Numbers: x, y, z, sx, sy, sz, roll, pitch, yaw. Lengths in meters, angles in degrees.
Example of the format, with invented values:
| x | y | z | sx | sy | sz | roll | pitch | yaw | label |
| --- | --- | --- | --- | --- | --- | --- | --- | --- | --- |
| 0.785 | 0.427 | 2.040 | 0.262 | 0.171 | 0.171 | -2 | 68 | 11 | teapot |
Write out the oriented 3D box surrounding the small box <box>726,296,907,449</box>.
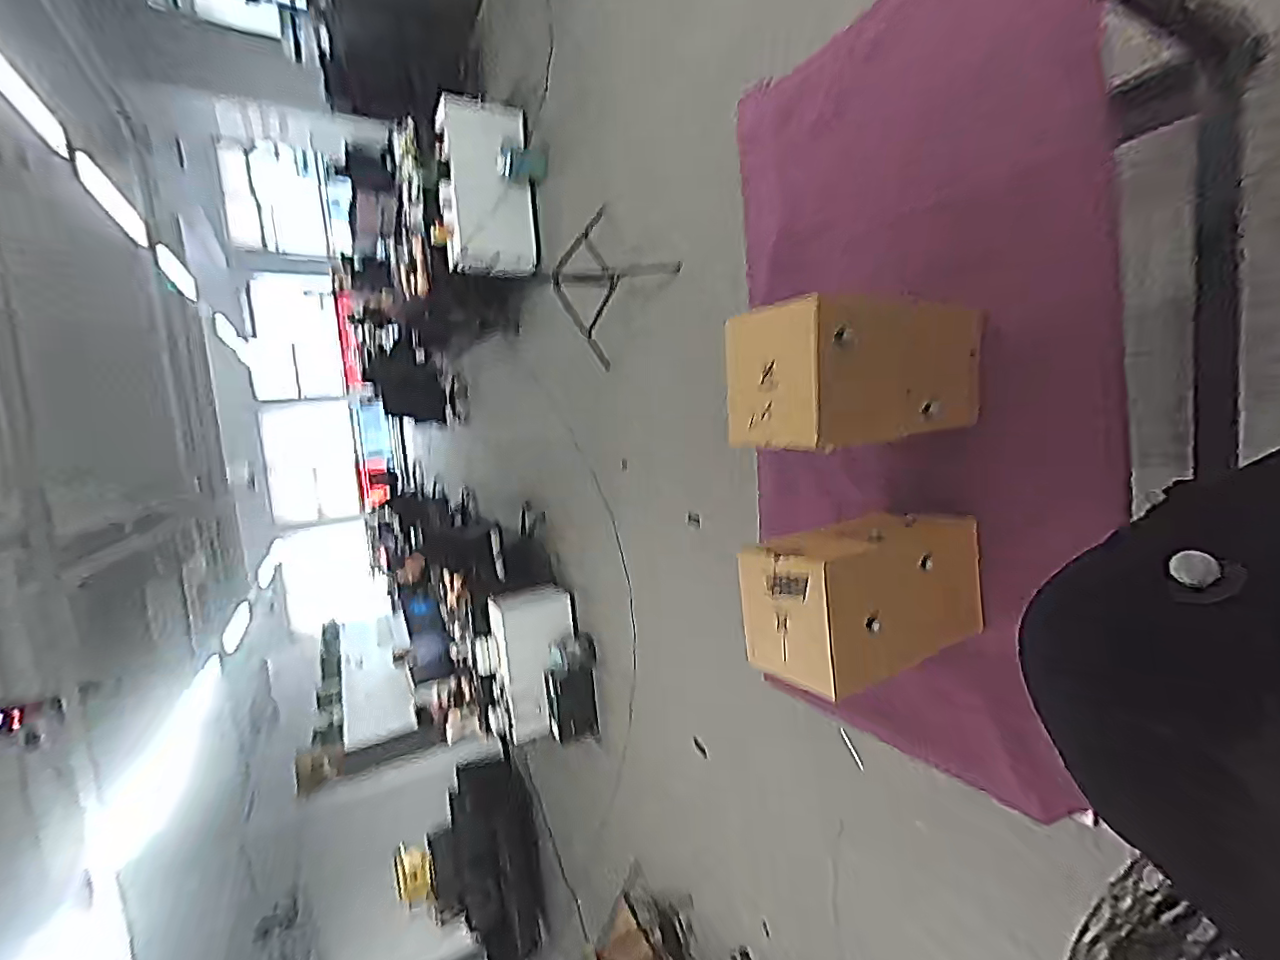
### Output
| x | y | z | sx | sy | sz | roll | pitch | yaw | label |
| --- | --- | --- | --- | --- | --- | --- | --- | --- | --- |
| 0.234 | -0.139 | 0.725 | 0.168 | 0.176 | 0.179 | 11 | 107 | 61 | small box |

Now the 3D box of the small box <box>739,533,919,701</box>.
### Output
| x | y | z | sx | sy | sz | roll | pitch | yaw | label |
| --- | --- | --- | --- | --- | --- | --- | --- | --- | --- |
| 0.263 | 0.174 | 0.760 | 0.168 | 0.176 | 0.179 | -1 | 96 | 62 | small box |

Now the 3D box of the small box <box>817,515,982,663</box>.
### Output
| x | y | z | sx | sy | sz | roll | pitch | yaw | label |
| --- | --- | --- | --- | --- | --- | --- | --- | --- | --- |
| 0.404 | 0.157 | 0.843 | 0.168 | 0.176 | 0.179 | -2 | 95 | 61 | small box |
